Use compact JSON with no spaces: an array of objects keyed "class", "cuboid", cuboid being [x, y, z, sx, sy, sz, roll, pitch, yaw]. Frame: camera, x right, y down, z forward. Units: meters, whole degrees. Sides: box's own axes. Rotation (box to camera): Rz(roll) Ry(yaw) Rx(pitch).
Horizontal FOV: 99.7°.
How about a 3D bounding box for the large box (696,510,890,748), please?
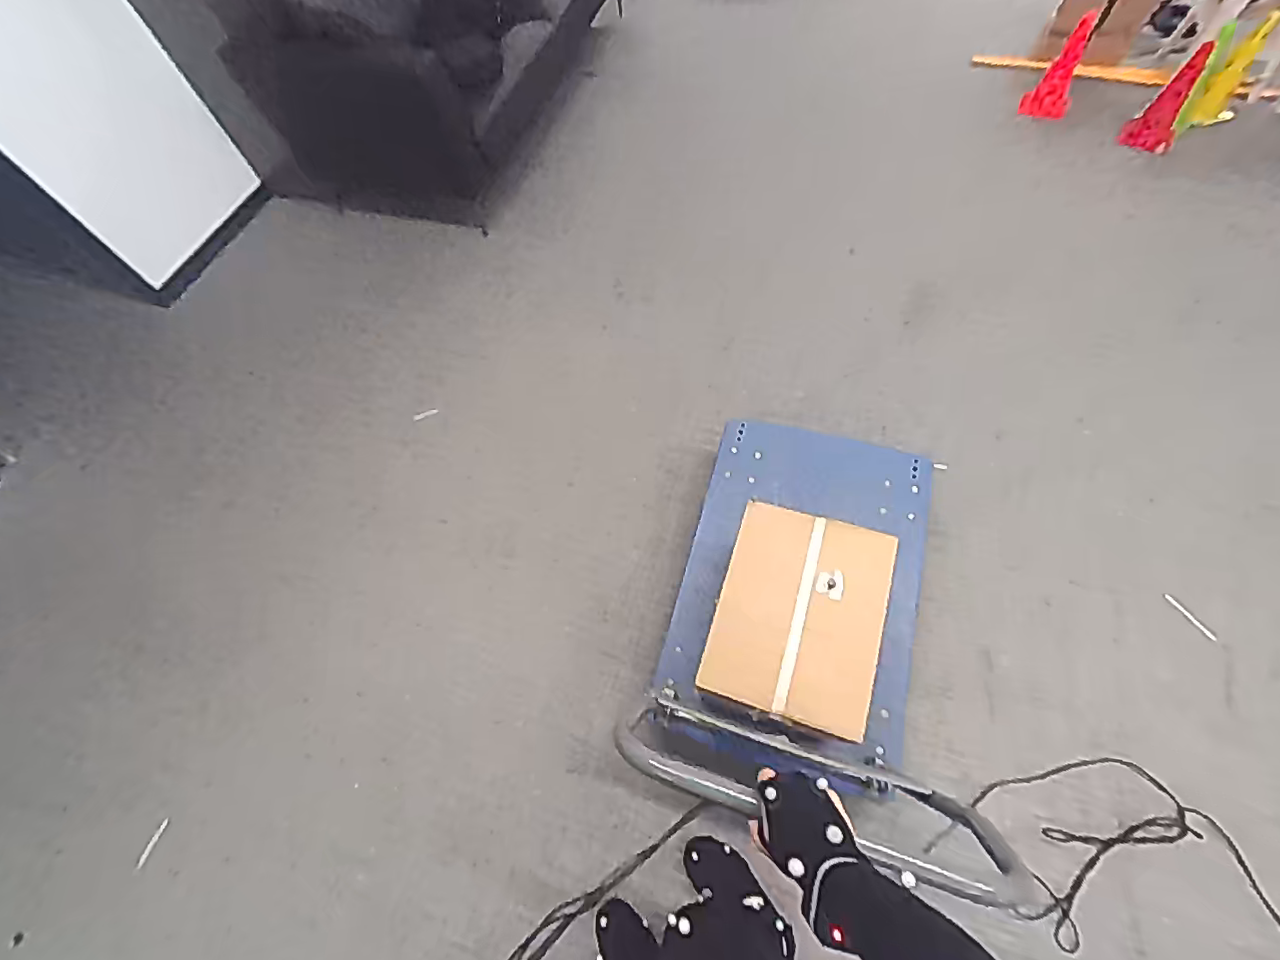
[{"class":"large box","cuboid":[0.332,0.339,1.210,0.320,0.320,0.408,16,67,14]}]
